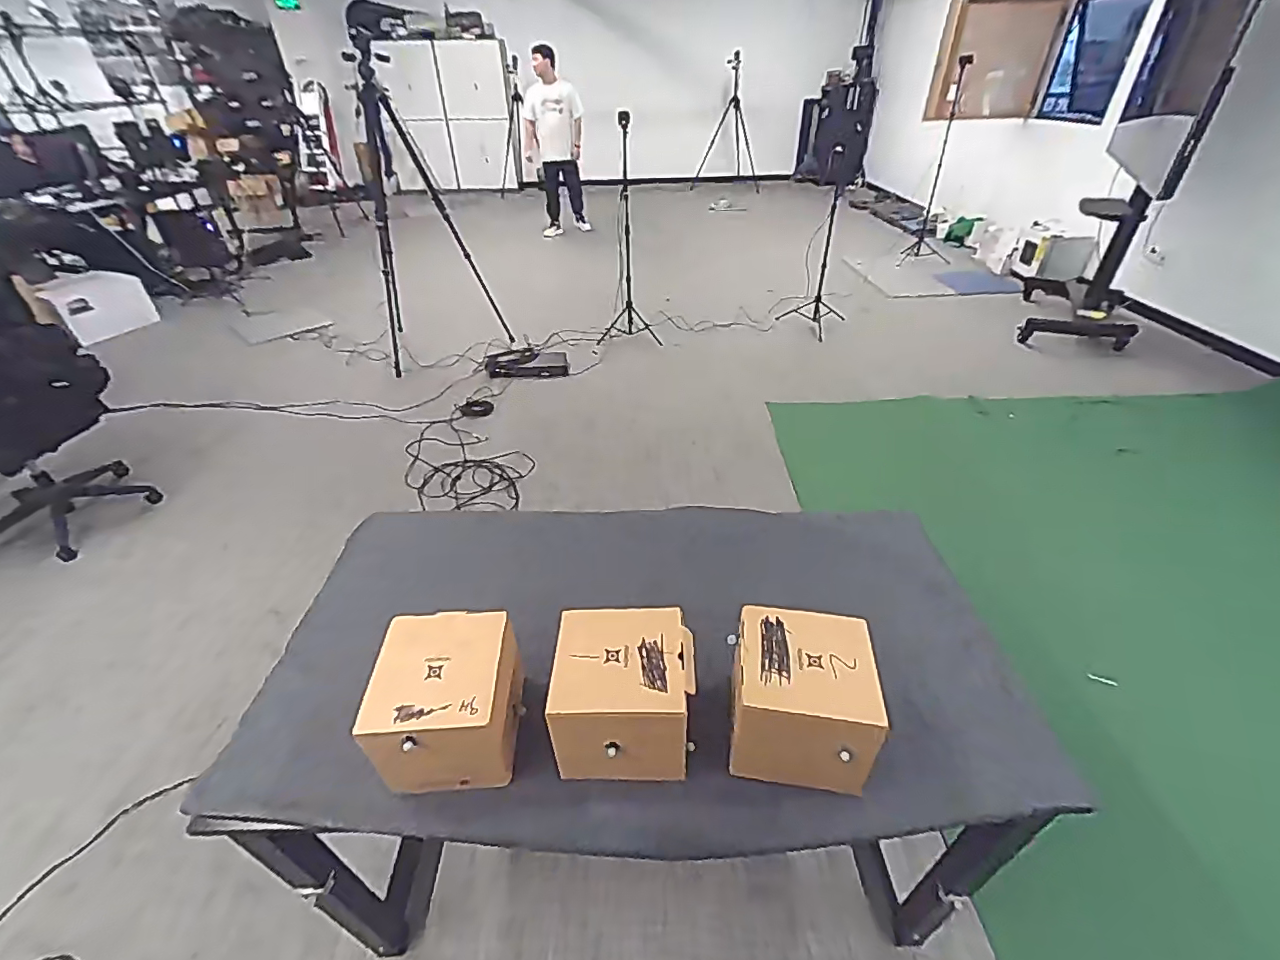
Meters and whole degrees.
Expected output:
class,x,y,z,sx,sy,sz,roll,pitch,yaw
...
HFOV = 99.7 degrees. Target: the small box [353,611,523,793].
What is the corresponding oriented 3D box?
class,x,y,z,sx,sy,sz,roll,pitch,yaw
small box,-0.265,0.310,0.763,0.168,0.176,0.179,-3,37,-1
